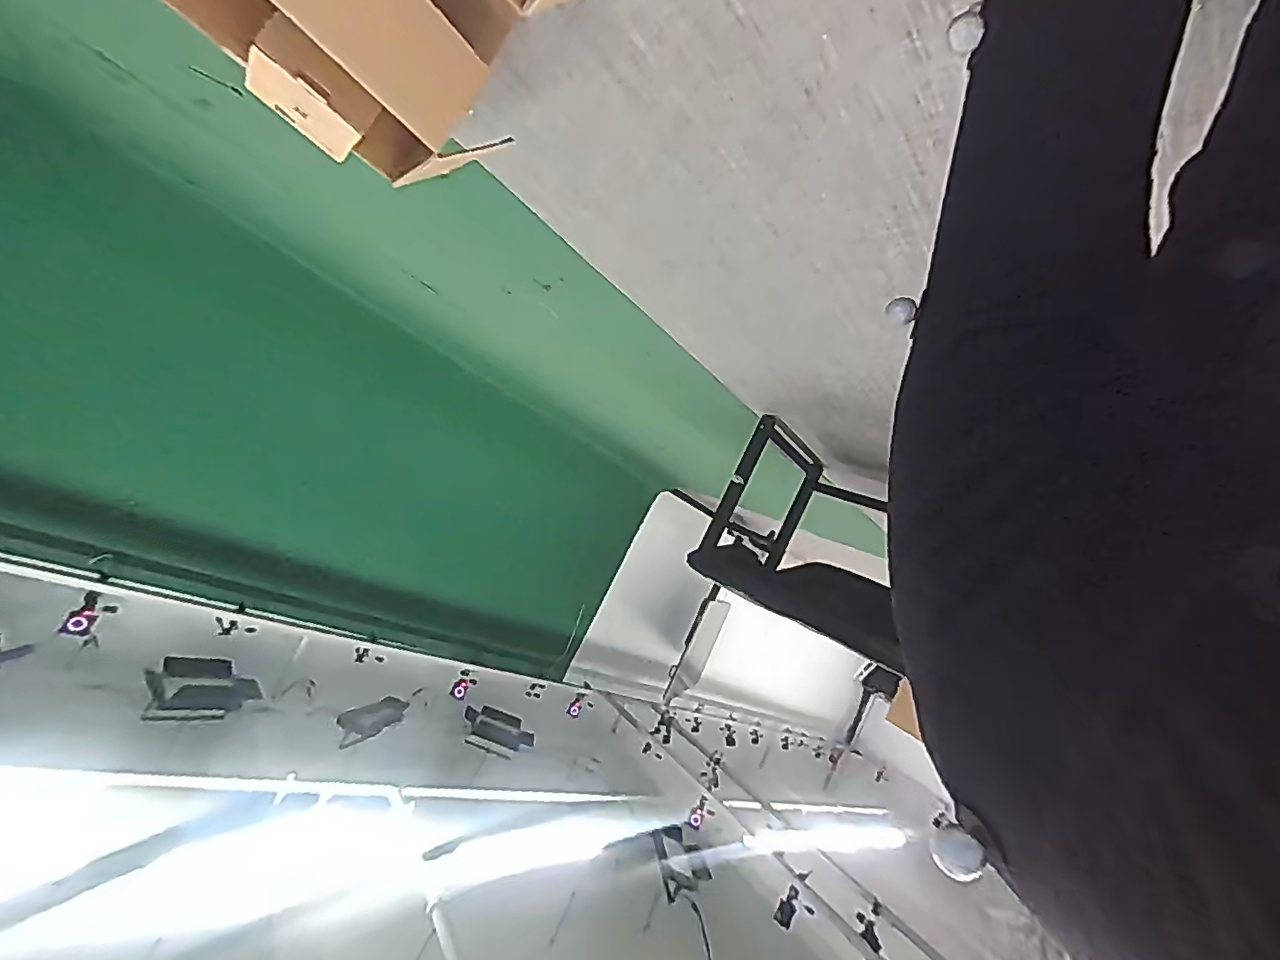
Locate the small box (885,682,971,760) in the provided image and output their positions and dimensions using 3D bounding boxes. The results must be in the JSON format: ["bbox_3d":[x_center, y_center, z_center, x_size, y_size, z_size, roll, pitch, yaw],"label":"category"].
[{"bbox_3d":[0.941,0.781,1.762,0.179,0.176,0.168,31,175,-37],"label":"small box"}]
